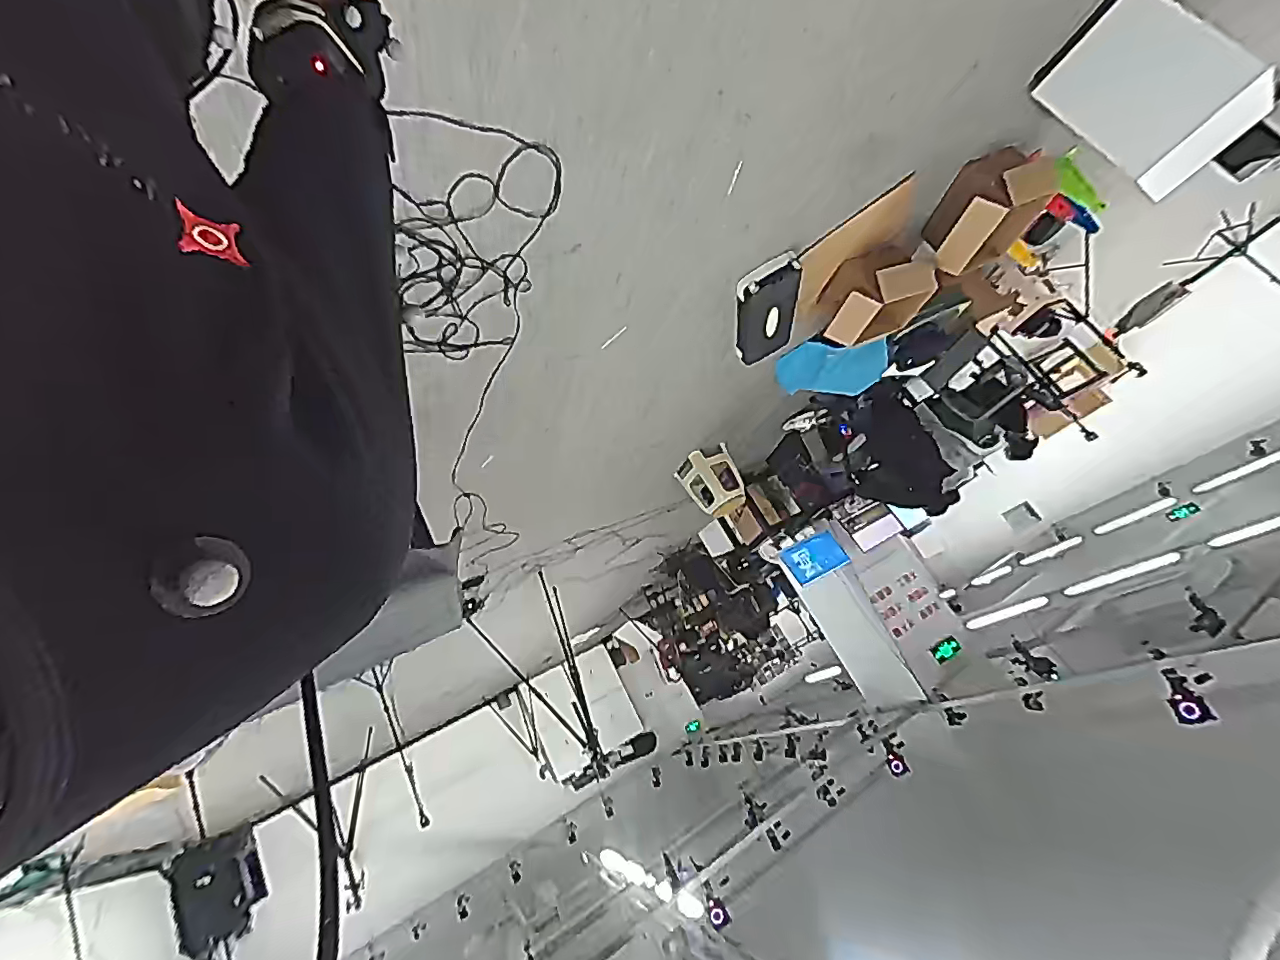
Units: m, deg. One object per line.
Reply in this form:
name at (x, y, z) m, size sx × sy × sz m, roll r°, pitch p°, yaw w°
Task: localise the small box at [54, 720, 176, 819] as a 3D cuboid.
small box at (-1.361, 0.744, 1.405) m, size 0.168 × 0.176 × 0.179 m, roll -20°, pitch 161°, yaw -24°
